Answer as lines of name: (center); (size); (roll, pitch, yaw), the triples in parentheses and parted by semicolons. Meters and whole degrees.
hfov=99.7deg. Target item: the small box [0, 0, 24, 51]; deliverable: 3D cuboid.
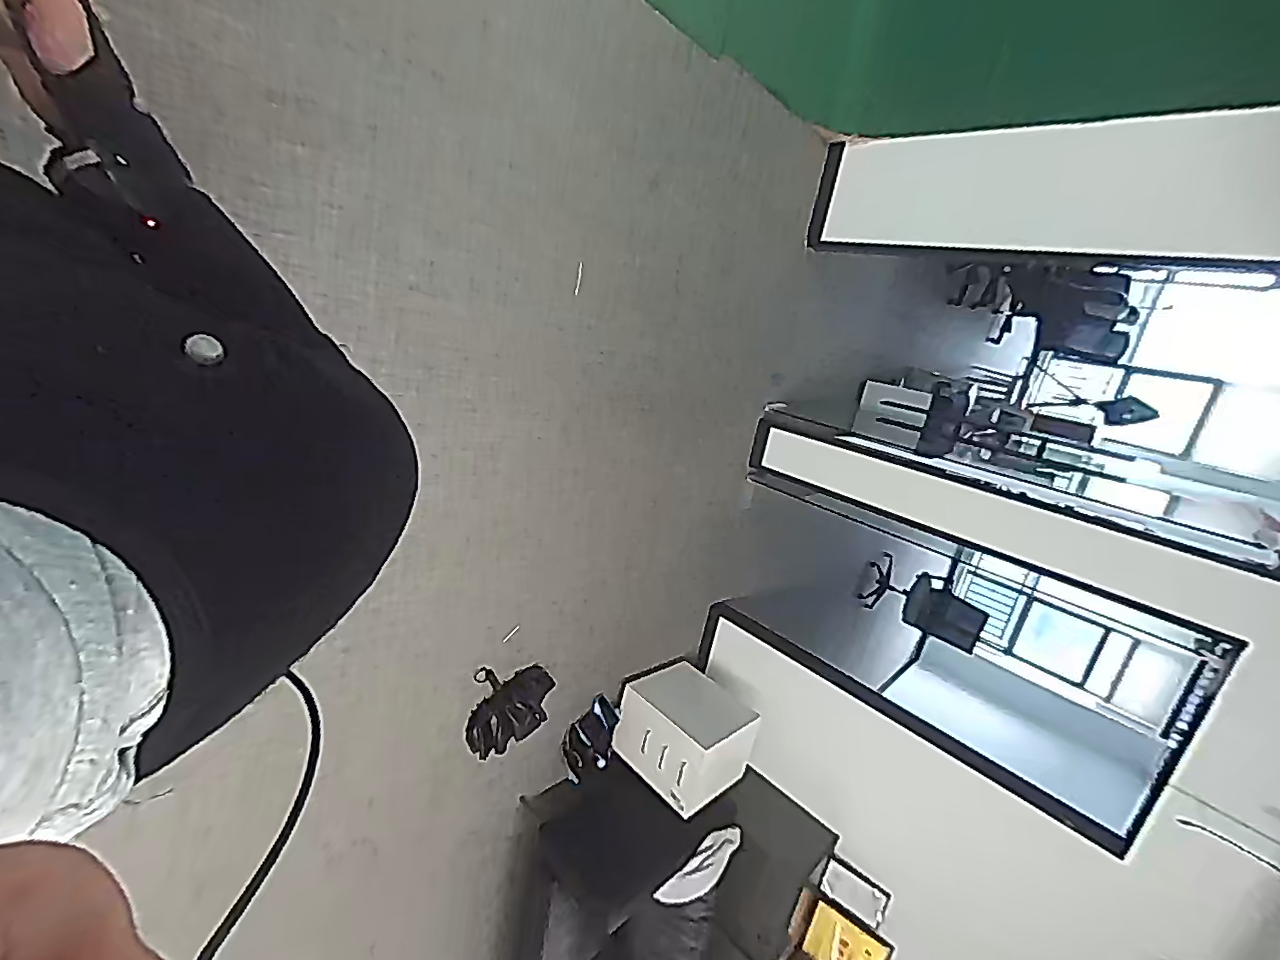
small box: (-0.461, -0.339, 0.261); (0.179, 0.176, 0.168); (-17, 119, -38)
